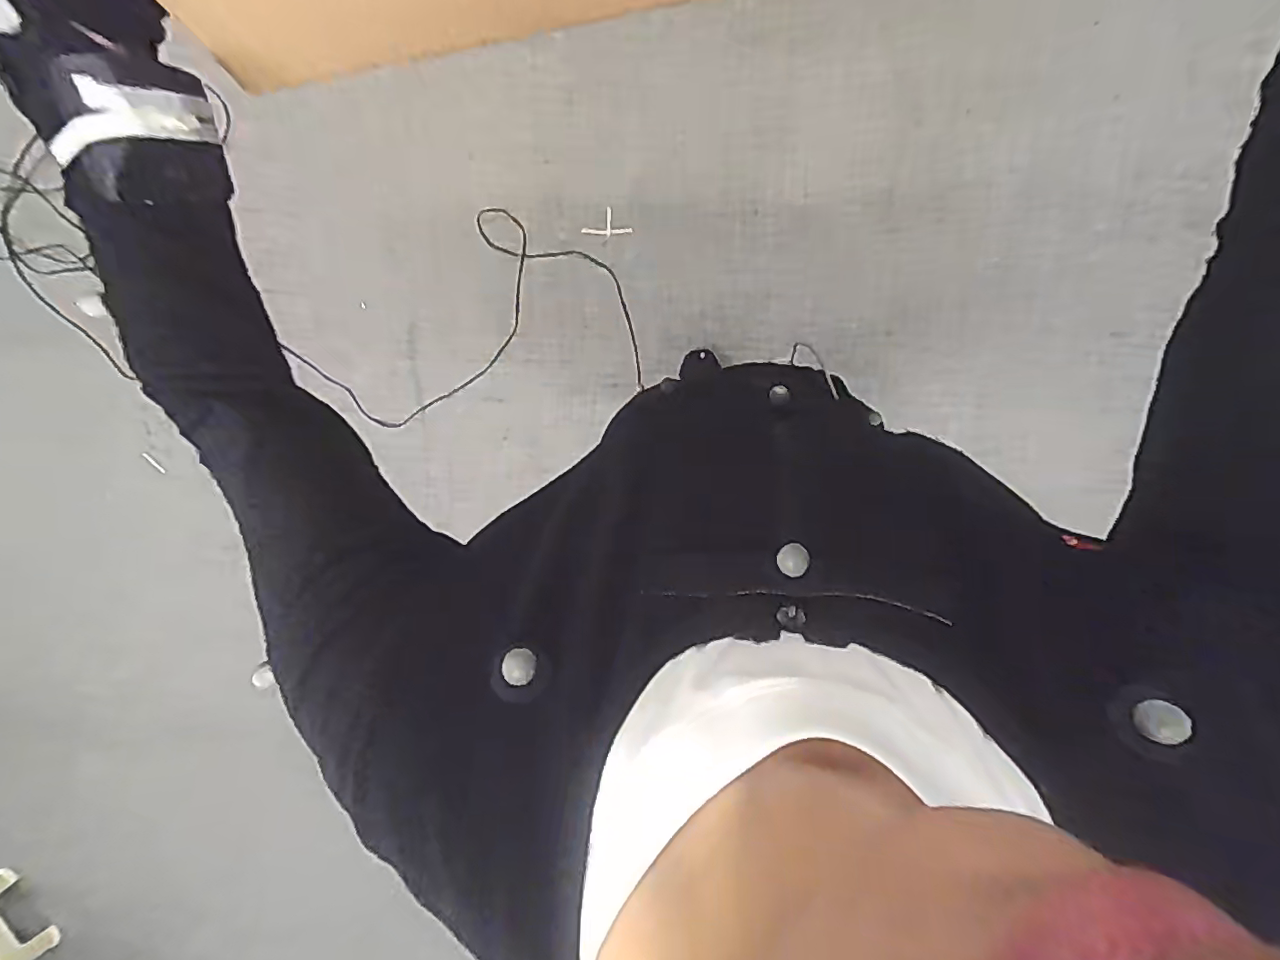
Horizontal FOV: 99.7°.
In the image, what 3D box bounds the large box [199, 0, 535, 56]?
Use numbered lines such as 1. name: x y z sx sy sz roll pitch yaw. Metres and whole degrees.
1. large box: -0.044 -0.412 0.156 0.408 0.320 0.320 2 74 14
